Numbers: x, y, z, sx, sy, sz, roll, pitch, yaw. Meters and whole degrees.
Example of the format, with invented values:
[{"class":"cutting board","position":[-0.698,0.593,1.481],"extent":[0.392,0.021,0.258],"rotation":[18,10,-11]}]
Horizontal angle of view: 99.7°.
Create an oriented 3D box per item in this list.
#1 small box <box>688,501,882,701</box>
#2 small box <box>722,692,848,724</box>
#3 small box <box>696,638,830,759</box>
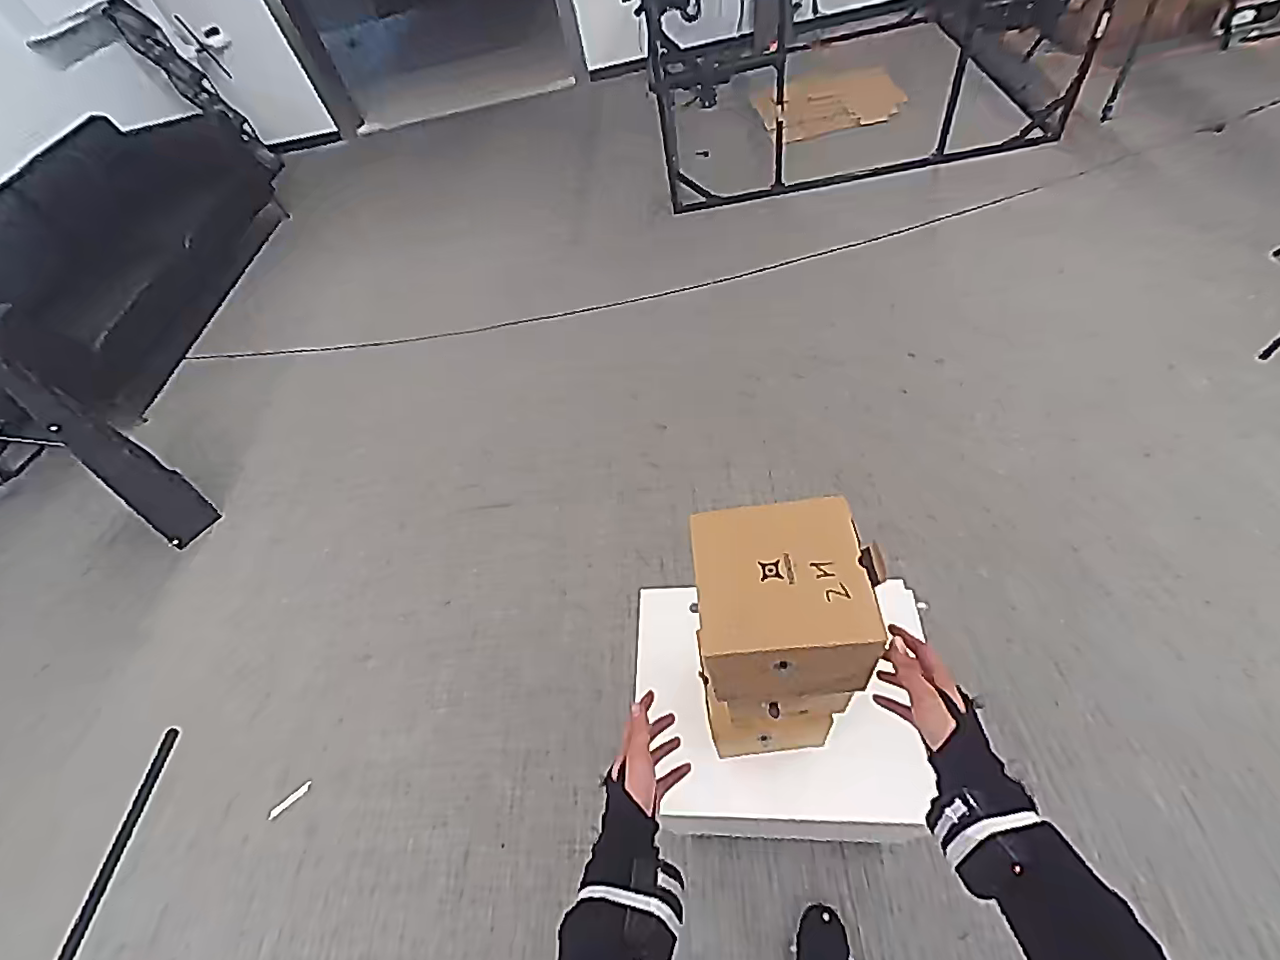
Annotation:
[{"class":"small box","position":[0.157,0.146,0.624],"extent":[0.179,0.176,0.168],"rotation":[-8,53,8]},{"class":"small box","position":[0.190,0.233,0.761],"extent":[0.168,0.176,0.179],"rotation":[-9,52,6]},{"class":"small box","position":[0.195,0.345,0.882],"extent":[0.179,0.176,0.168],"rotation":[-10,53,5]}]
